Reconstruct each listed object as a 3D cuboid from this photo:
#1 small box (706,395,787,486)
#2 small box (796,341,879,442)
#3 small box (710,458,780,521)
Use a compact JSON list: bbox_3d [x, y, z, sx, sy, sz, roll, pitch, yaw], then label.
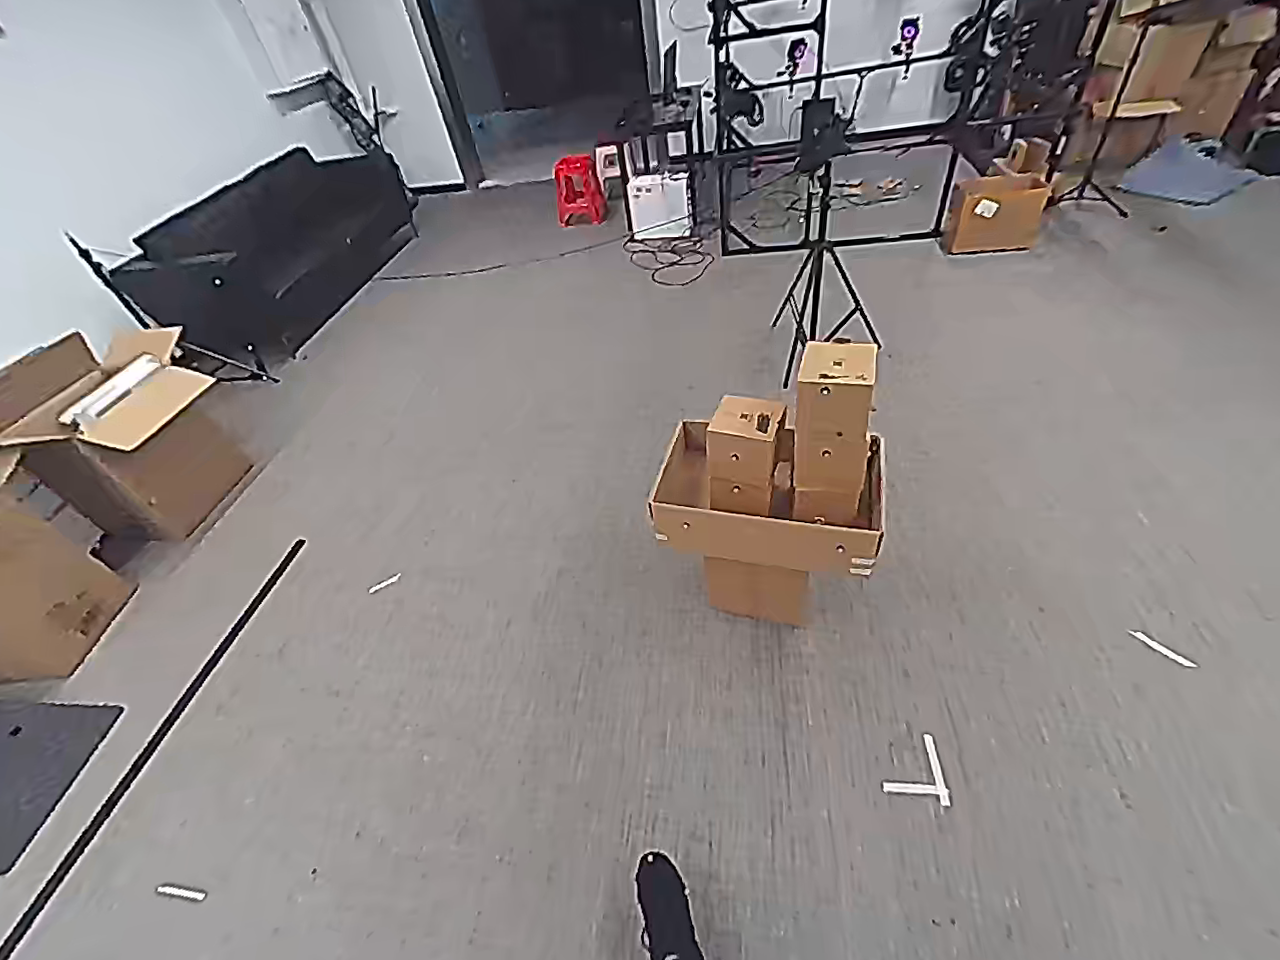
[{"bbox_3d":[0.289,-0.106,1.465,0.179,0.176,0.168,12,48,22],"label":"small box"},{"bbox_3d":[0.469,-0.214,1.296,0.168,0.176,0.179,7,45,21],"label":"small box"},{"bbox_3d":[0.310,0.000,1.589,0.179,0.176,0.168,8,47,17],"label":"small box"}]
